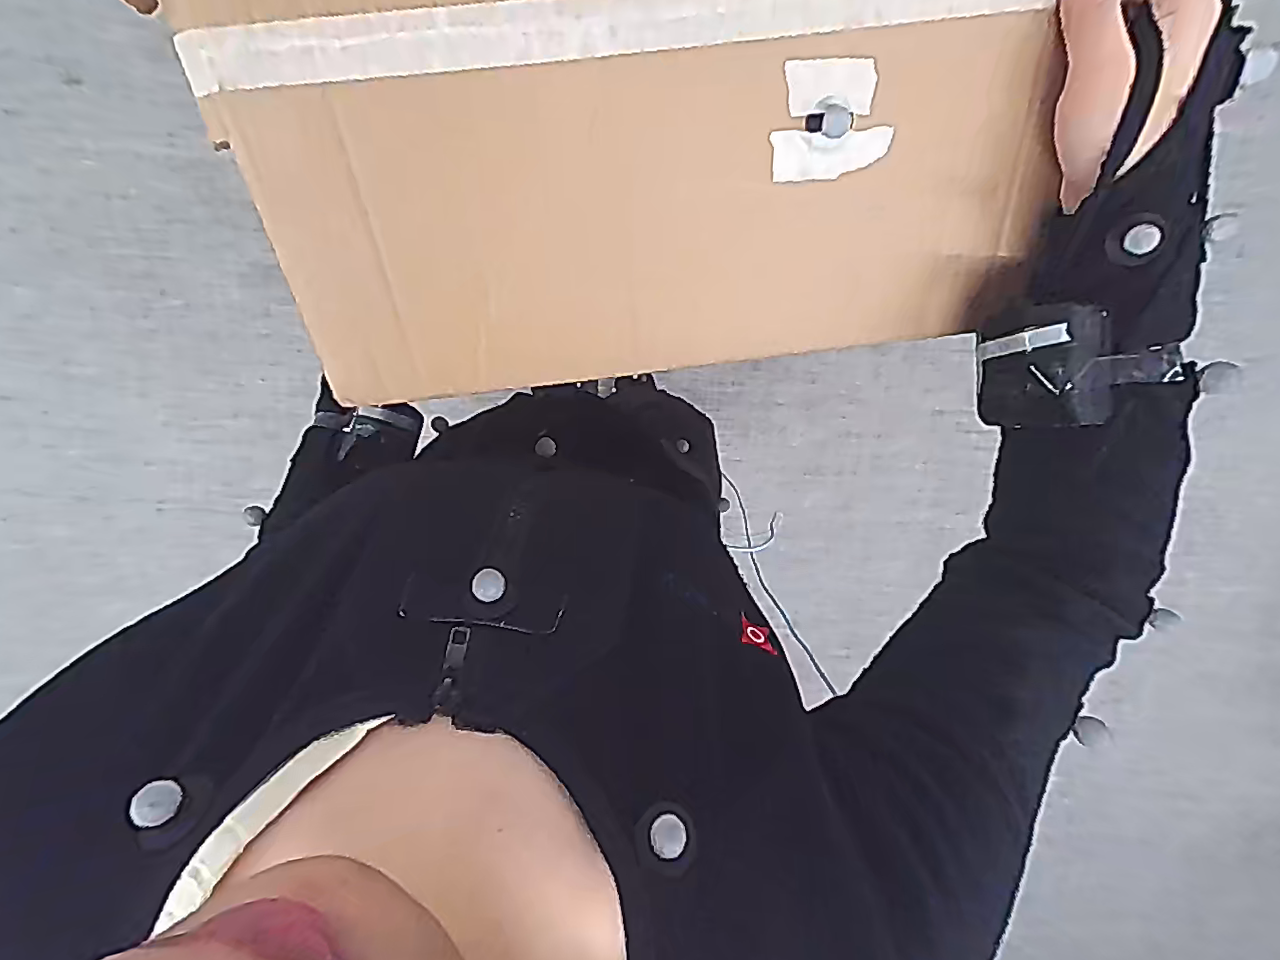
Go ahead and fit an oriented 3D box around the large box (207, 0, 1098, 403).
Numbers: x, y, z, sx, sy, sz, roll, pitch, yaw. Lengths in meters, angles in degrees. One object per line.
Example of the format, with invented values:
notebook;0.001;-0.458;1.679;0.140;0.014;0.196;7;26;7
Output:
large box;0.001;-0.276;0.373;0.408;0.320;0.320;-8;121;-3
